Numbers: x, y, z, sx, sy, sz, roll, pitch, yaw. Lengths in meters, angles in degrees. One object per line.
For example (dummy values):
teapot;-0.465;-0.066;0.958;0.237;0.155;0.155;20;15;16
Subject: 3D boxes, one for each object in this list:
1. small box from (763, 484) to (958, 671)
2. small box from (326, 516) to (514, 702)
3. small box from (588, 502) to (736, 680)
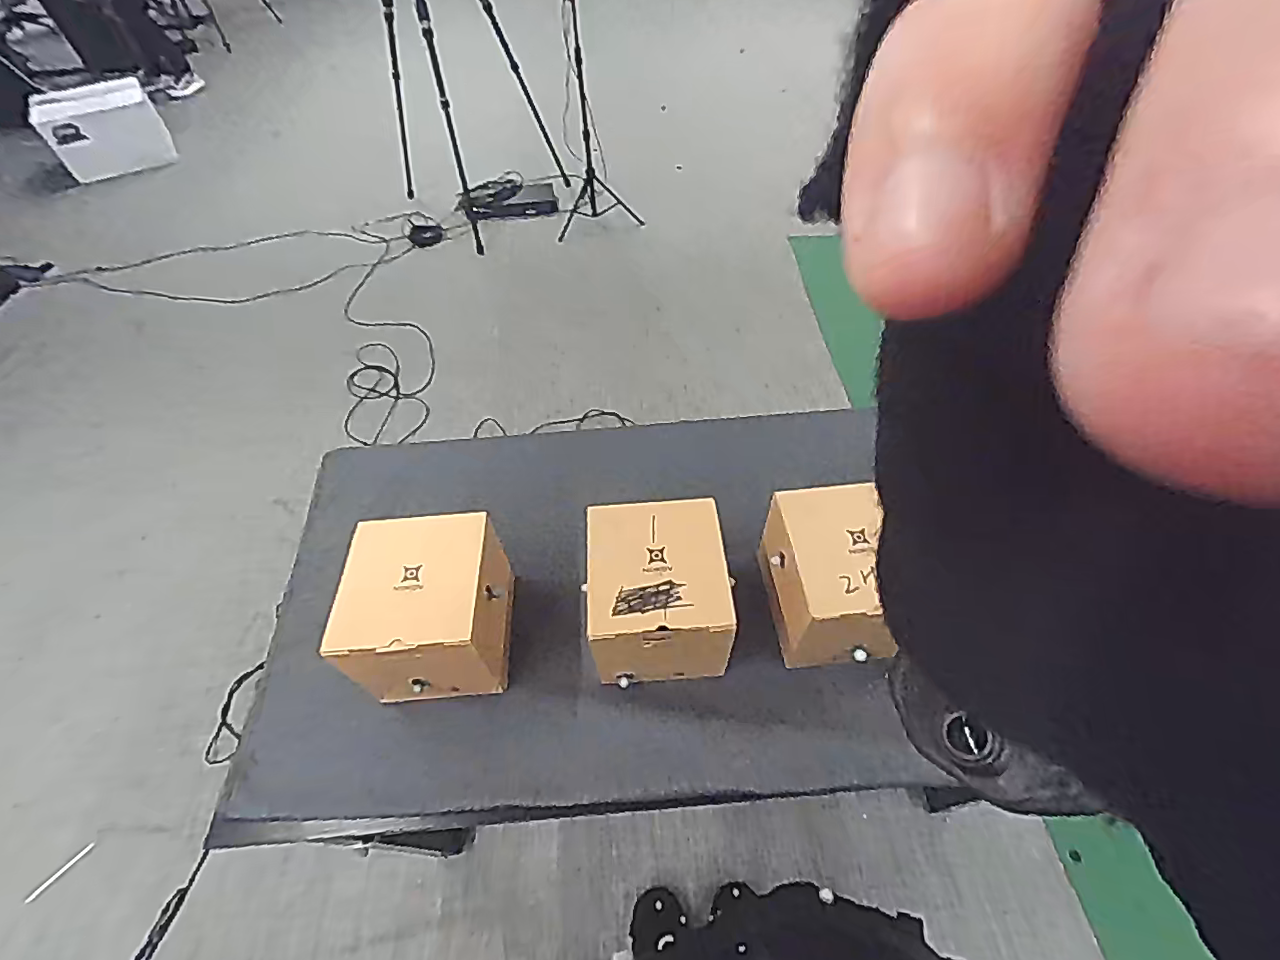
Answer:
small box;0.266;0.129;0.705;0.168;0.176;0.179;-6;52;0
small box;-0.263;0.168;0.699;0.168;0.176;0.179;-4;52;-2
small box;0.025;0.150;0.700;0.168;0.176;0.179;-4;52;-1
